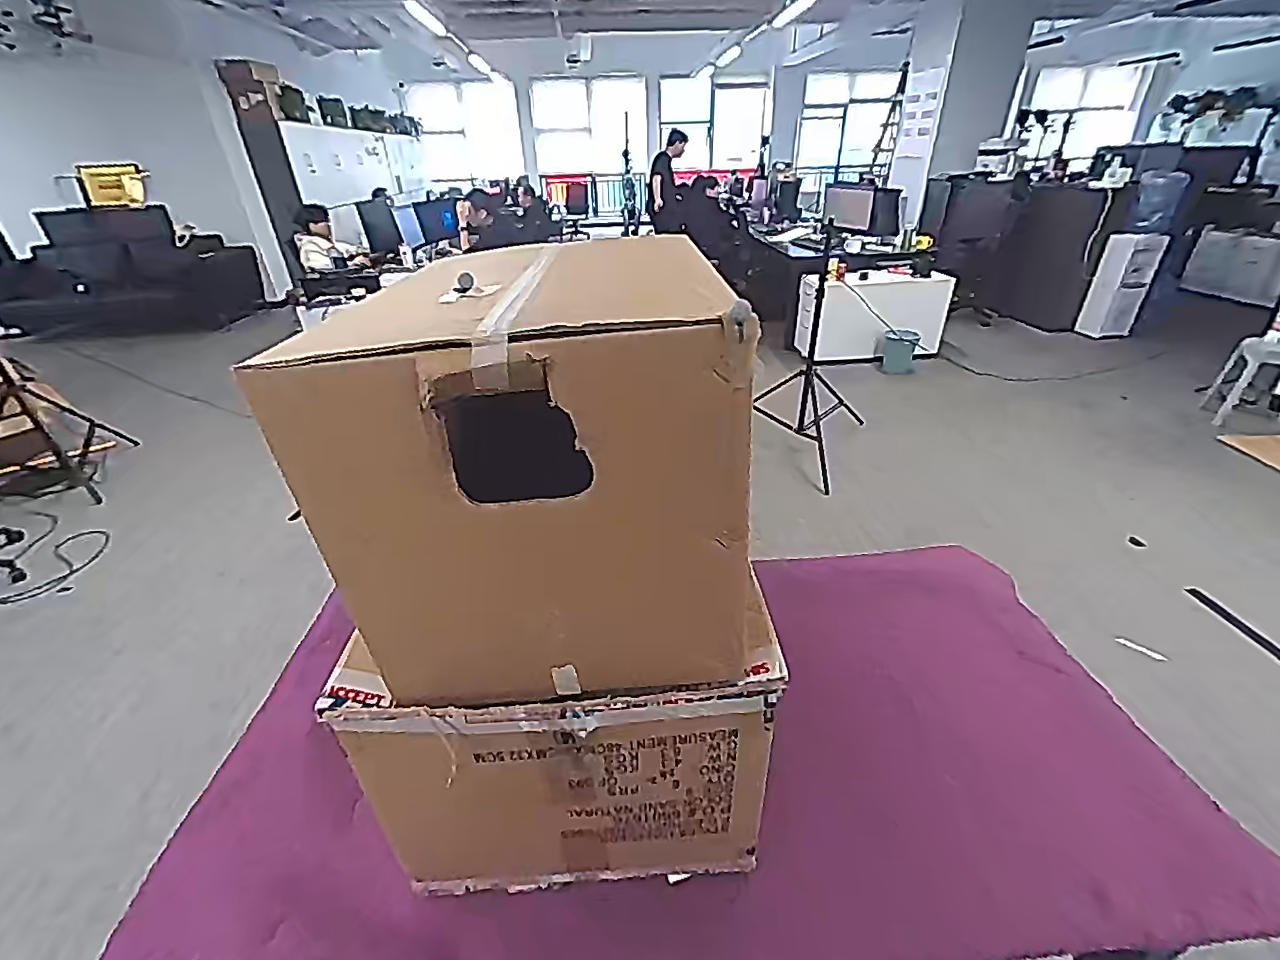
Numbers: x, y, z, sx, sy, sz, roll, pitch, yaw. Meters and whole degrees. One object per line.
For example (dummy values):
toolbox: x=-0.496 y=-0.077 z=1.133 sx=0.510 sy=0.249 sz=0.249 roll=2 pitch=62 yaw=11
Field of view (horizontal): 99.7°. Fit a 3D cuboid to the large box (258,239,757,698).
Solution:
large box: x=-0.079 y=-0.048 z=0.568 sx=0.320 sy=0.320 sz=0.408 roll=-7 pitch=31 yaw=1
